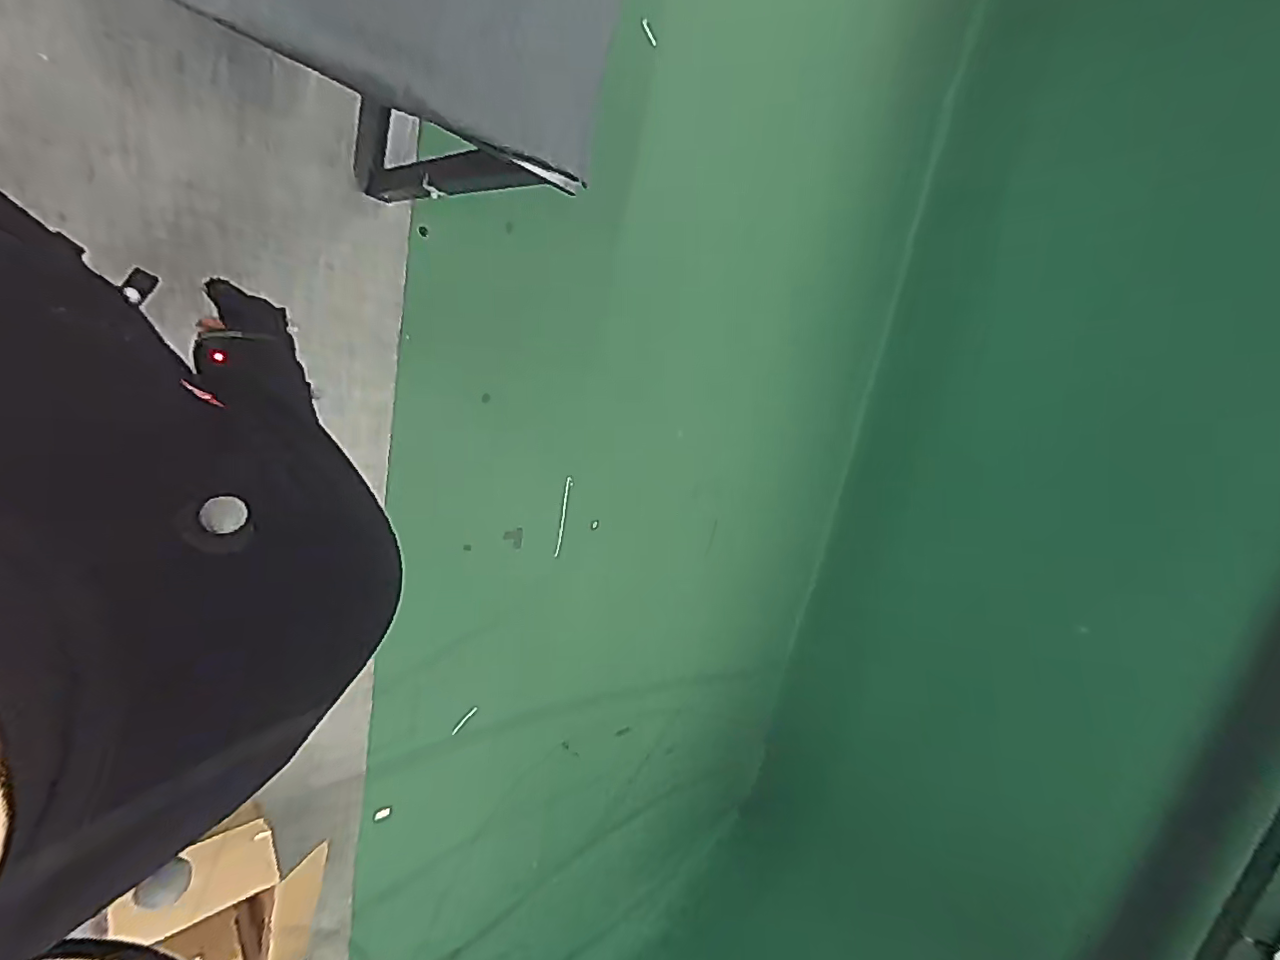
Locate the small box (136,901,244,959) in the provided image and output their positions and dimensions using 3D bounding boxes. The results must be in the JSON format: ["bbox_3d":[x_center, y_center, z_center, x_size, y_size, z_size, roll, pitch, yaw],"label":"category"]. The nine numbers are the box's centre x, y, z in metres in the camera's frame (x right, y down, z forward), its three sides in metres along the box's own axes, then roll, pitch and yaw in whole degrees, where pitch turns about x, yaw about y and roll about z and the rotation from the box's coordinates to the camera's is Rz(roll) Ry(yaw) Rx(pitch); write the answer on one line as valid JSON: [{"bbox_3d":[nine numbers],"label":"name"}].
[{"bbox_3d":[-1.050,1.144,1.251,0.179,0.176,0.168,3,105,-48],"label":"small box"}]
